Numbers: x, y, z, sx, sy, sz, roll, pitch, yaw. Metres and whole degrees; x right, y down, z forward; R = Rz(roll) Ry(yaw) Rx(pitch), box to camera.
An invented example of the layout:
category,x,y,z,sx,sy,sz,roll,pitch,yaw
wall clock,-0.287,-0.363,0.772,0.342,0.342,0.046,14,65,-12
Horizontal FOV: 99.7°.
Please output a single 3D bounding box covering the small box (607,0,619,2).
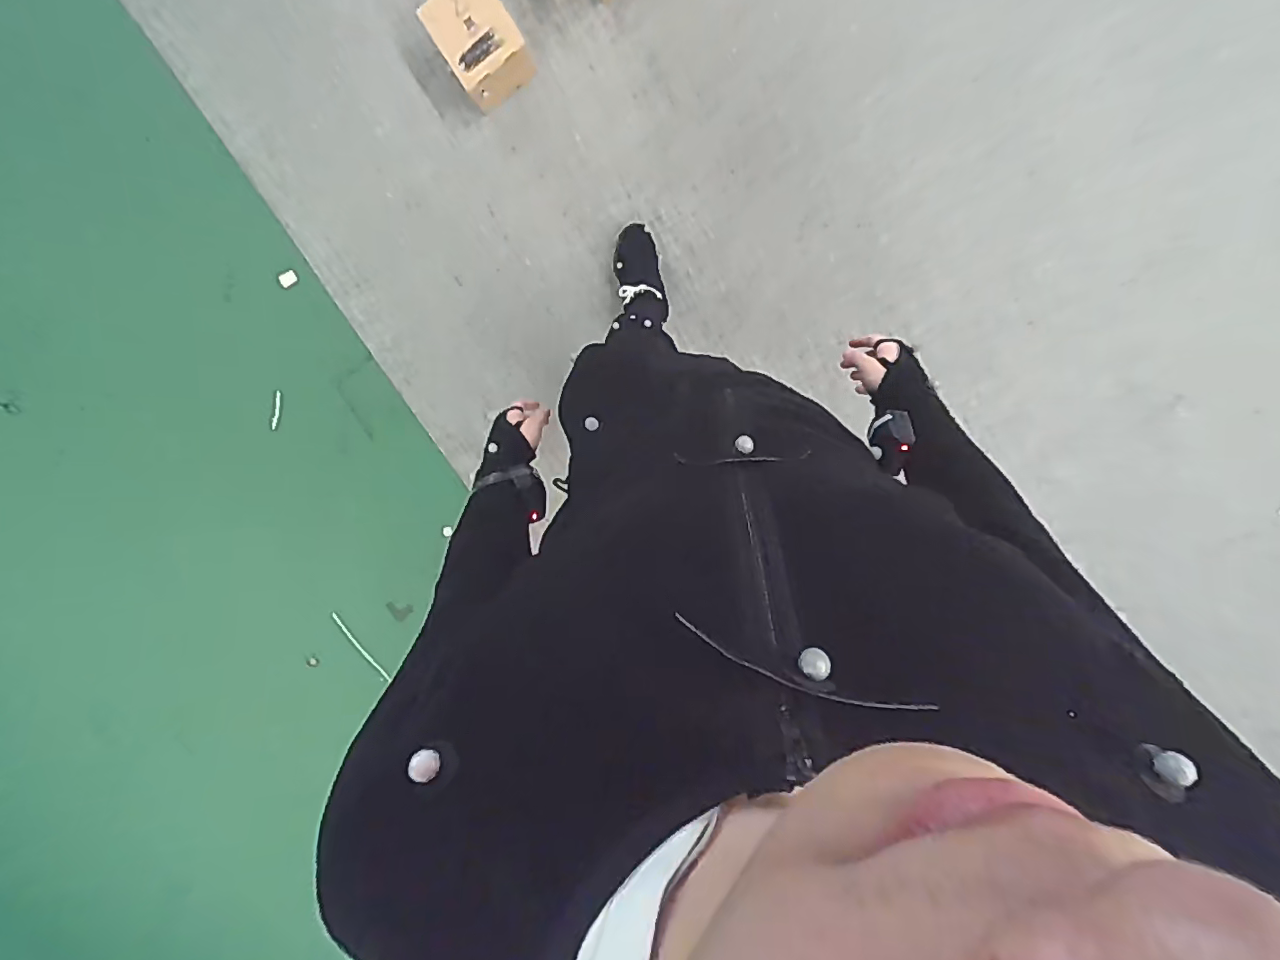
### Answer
category,x,y,z,sx,sy,sz,roll,pitch,yaw
small box,-0.037,-1.187,1.166,0.168,0.176,0.179,-22,108,6
